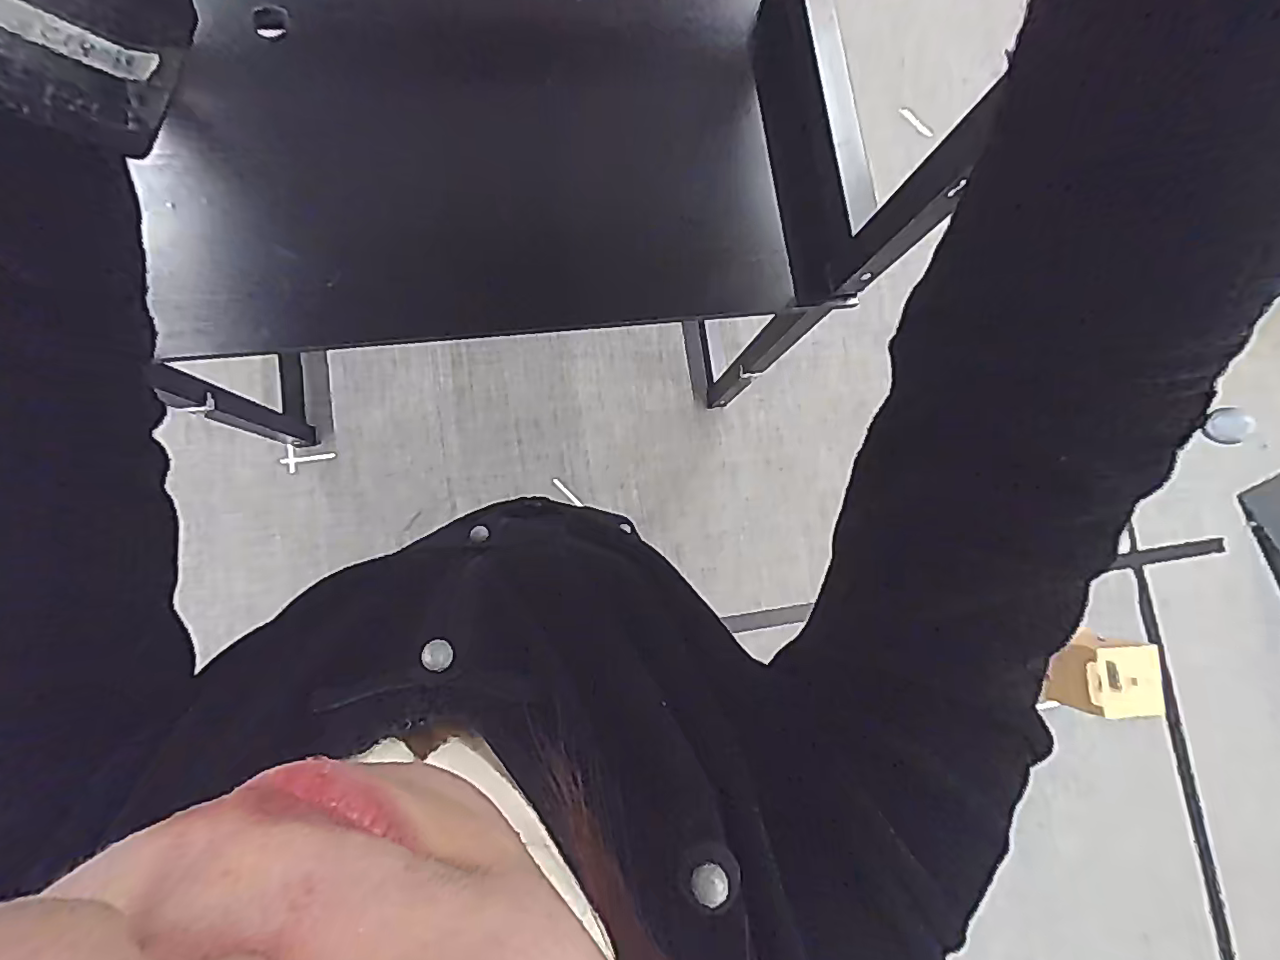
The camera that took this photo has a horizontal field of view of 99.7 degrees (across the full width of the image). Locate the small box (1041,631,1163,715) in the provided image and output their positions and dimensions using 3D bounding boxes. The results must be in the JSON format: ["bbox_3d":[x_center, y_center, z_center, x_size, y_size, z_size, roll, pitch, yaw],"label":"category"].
[{"bbox_3d":[1.169,0.488,1.385,0.179,0.176,0.168,-1,85,-8],"label":"small box"}]
